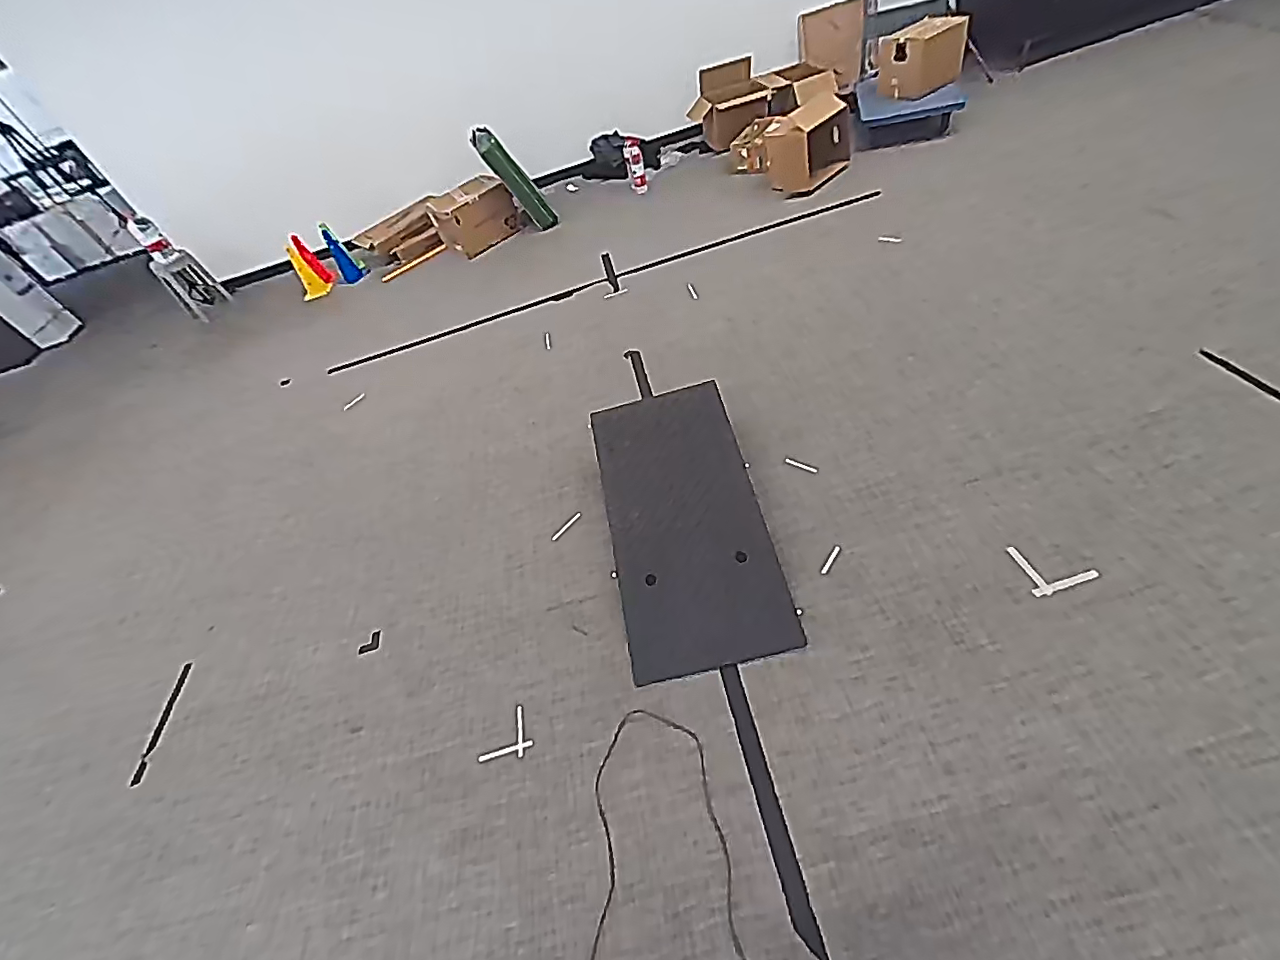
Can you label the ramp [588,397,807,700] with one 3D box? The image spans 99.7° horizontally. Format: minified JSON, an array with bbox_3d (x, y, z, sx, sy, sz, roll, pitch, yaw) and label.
[{"bbox_3d":[0.135,0.153,1.777,0.509,0.206,0.991,-17,45,2],"label":"ramp"}]
